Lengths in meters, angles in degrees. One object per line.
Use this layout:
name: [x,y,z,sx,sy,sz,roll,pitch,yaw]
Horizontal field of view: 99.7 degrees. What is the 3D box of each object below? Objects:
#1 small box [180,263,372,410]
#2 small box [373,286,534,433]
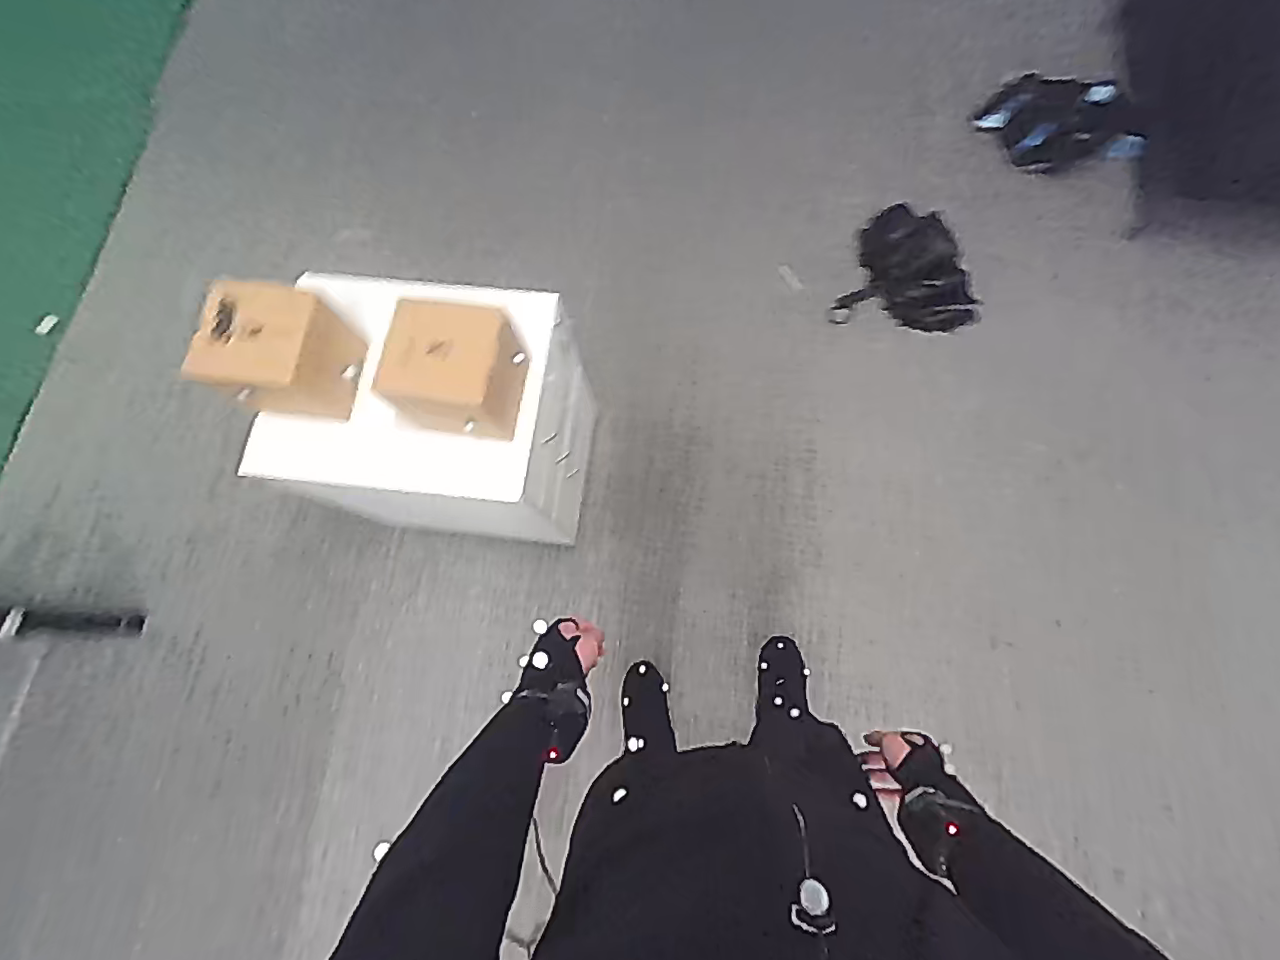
small box: [-0.578,-0.226,0.885,0.179,0.176,0.168,7,76,2]
small box: [-0.283,-0.184,0.867,0.179,0.176,0.168,8,75,6]
